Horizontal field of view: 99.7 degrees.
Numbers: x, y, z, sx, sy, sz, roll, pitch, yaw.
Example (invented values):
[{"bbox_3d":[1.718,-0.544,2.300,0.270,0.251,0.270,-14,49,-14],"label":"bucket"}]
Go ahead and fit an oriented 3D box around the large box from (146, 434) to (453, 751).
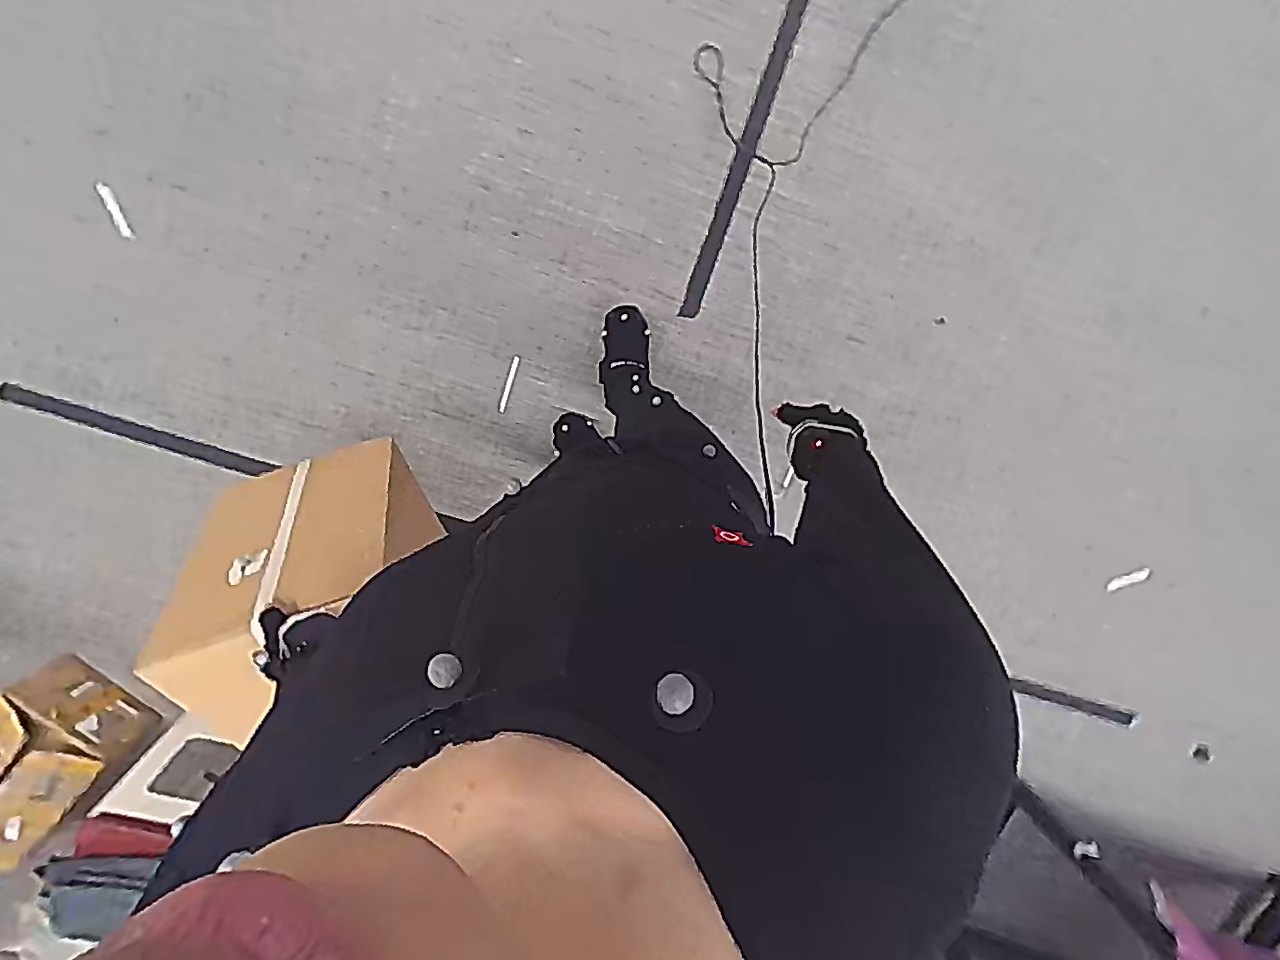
[{"bbox_3d":[-0.540,0.179,0.964,0.320,0.408,0.320,-17,130,-9],"label":"large box"}]
